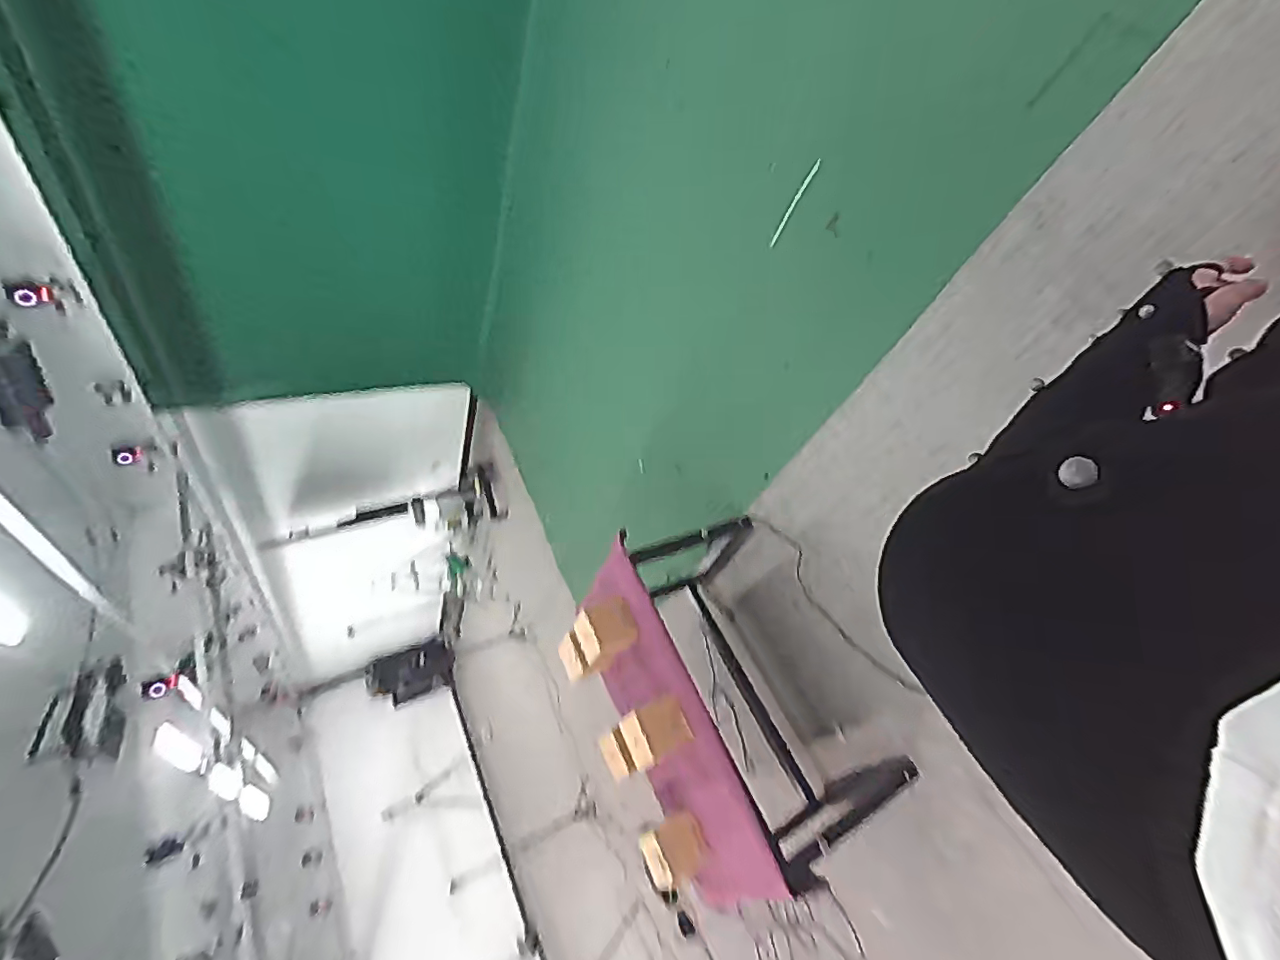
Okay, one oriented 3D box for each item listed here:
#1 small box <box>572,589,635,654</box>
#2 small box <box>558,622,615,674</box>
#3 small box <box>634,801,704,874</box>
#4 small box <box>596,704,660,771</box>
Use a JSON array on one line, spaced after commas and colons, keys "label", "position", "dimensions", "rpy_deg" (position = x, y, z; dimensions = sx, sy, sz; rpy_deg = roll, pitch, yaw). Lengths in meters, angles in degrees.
[{"label": "small box", "position": [-0.138, 0.543, 2.082], "dimensions": [0.168, 0.176, 0.179], "rpy_deg": [61, 147, 23]}, {"label": "small box", "position": [-0.226, 0.689, 2.282], "dimensions": [0.168, 0.176, 0.179], "rpy_deg": [61, 145, 24]}, {"label": "small box", "position": [0.108, 1.291, 1.958], "dimensions": [0.168, 0.176, 0.179], "rpy_deg": [61, 146, 26]}, {"label": "small box", "position": [-0.044, 1.003, 2.107], "dimensions": [0.168, 0.176, 0.179], "rpy_deg": [61, 144, 24]}]
